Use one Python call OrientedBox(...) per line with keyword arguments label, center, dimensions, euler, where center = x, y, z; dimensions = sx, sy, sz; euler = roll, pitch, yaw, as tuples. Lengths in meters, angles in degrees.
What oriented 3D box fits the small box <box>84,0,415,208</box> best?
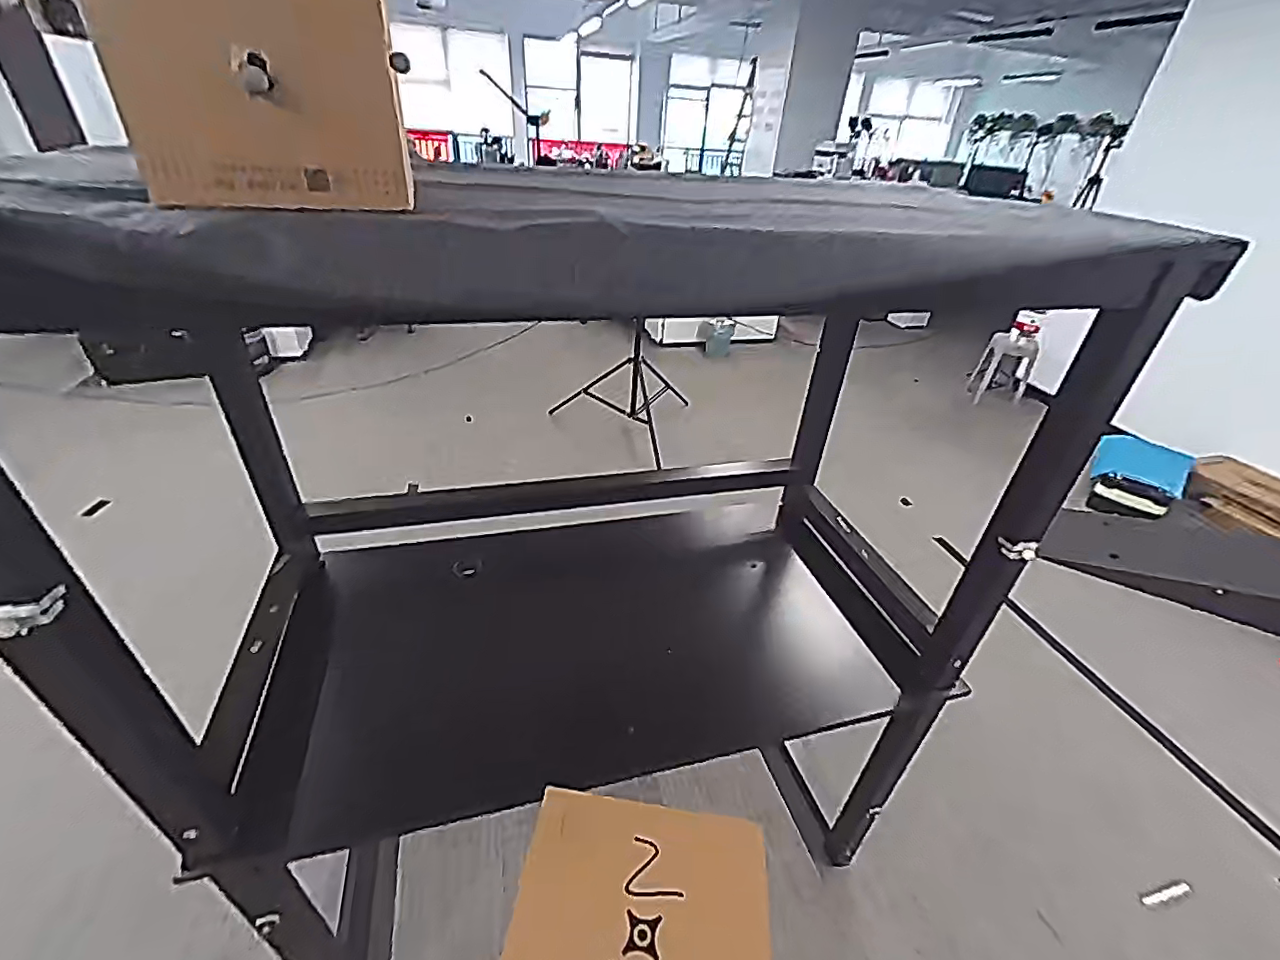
OrientedBox(label="small box", center=(-0.270, -0.309, 0.409), dimensions=(0.168, 0.176, 0.179), euler=(-8, 34, -19))
